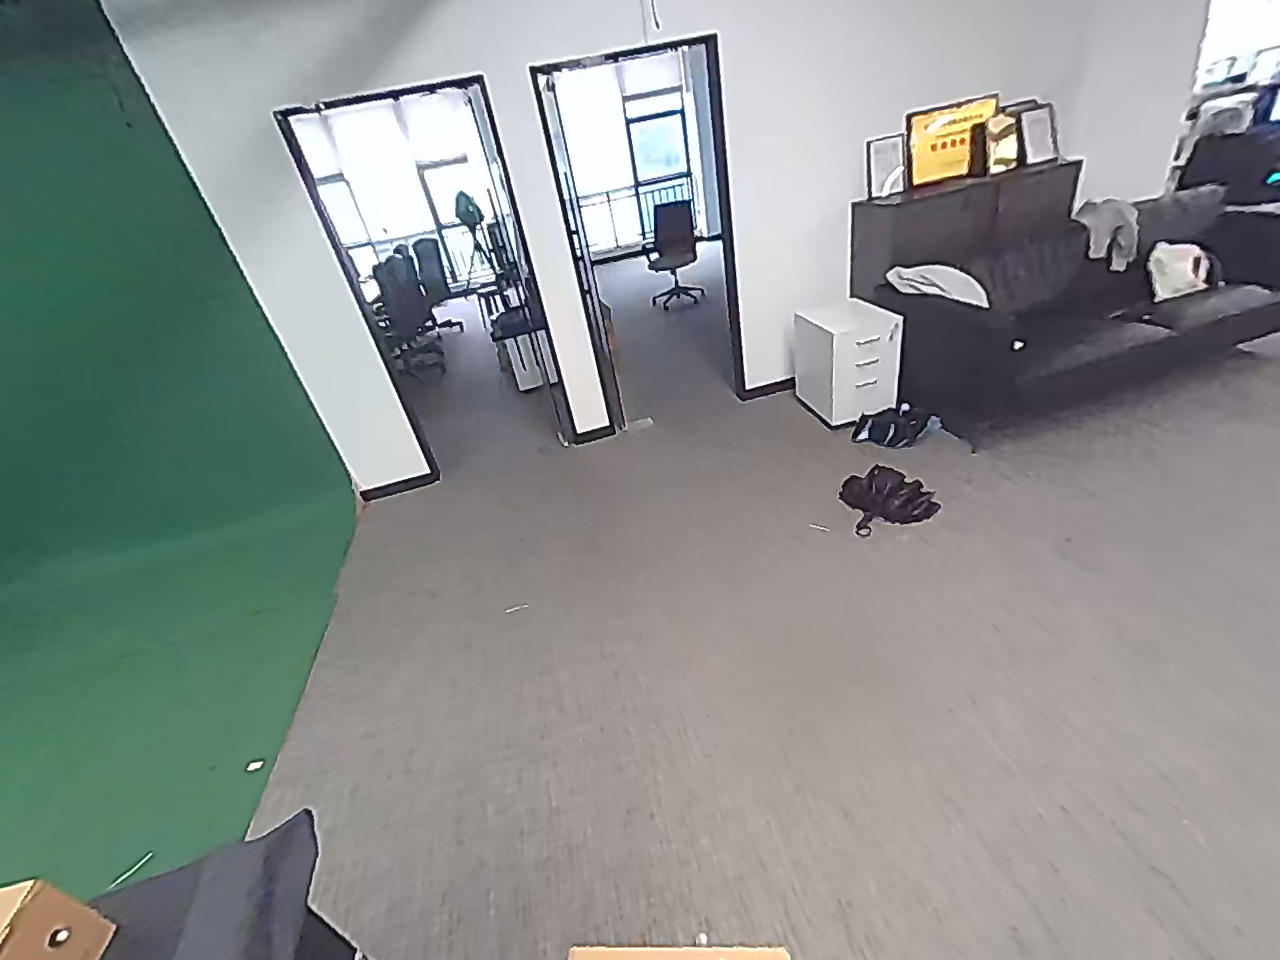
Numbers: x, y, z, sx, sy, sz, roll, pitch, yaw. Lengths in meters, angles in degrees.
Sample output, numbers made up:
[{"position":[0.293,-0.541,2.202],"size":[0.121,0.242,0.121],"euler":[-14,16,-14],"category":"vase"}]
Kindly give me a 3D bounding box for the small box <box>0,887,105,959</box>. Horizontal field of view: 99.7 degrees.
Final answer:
[{"position":[-0.885,0.687,0.710],"size":[0.179,0.176,0.168],"euler":[-15,29,-5],"category":"small box"}]
